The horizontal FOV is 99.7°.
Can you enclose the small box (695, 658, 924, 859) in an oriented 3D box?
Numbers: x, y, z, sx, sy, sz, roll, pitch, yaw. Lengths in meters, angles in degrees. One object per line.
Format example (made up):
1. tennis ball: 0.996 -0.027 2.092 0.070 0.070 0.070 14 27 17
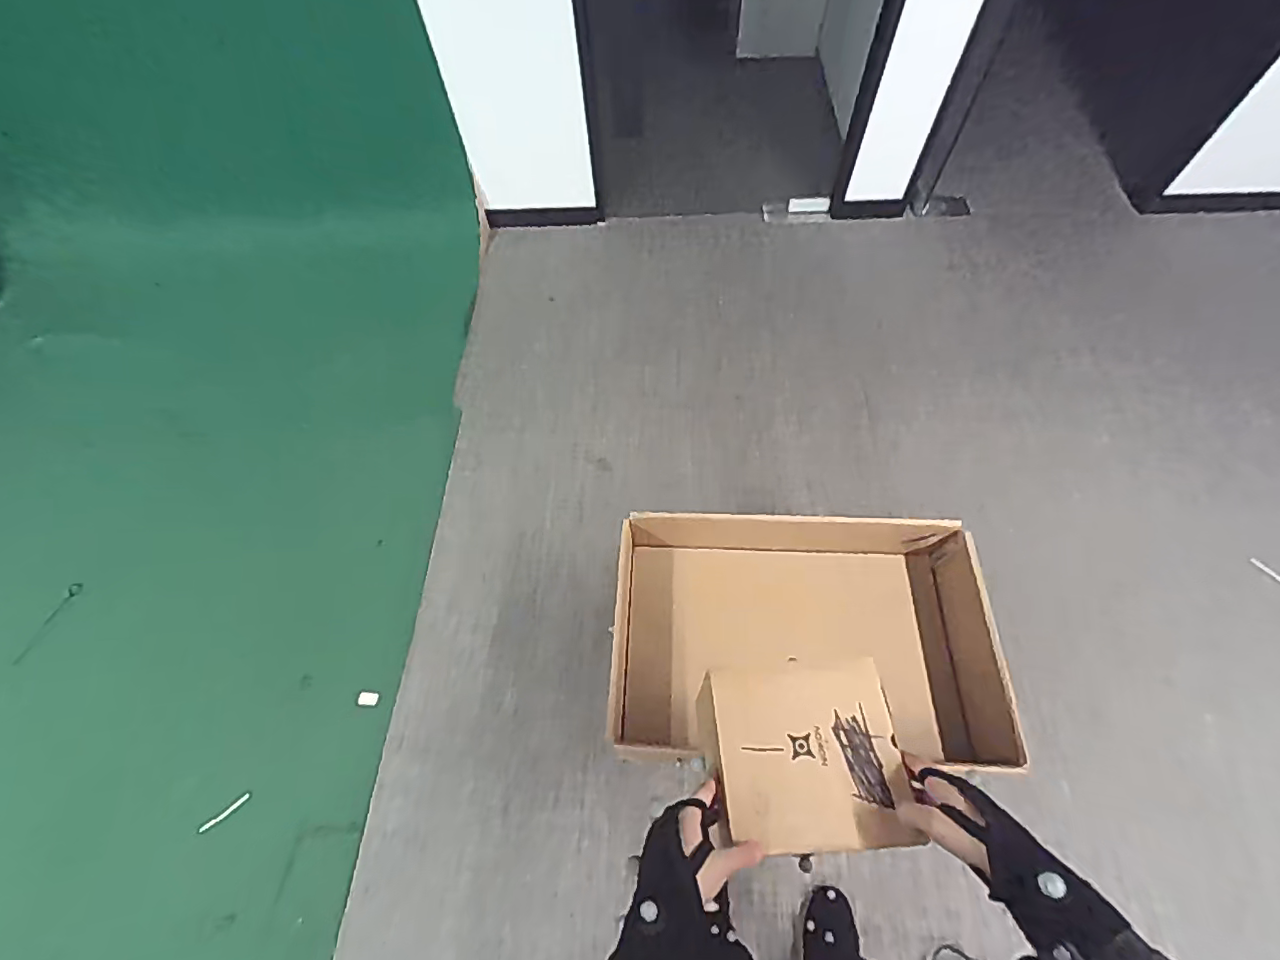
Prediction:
1. small box: 0.158 0.299 0.575 0.179 0.176 0.168 -3 54 -1
